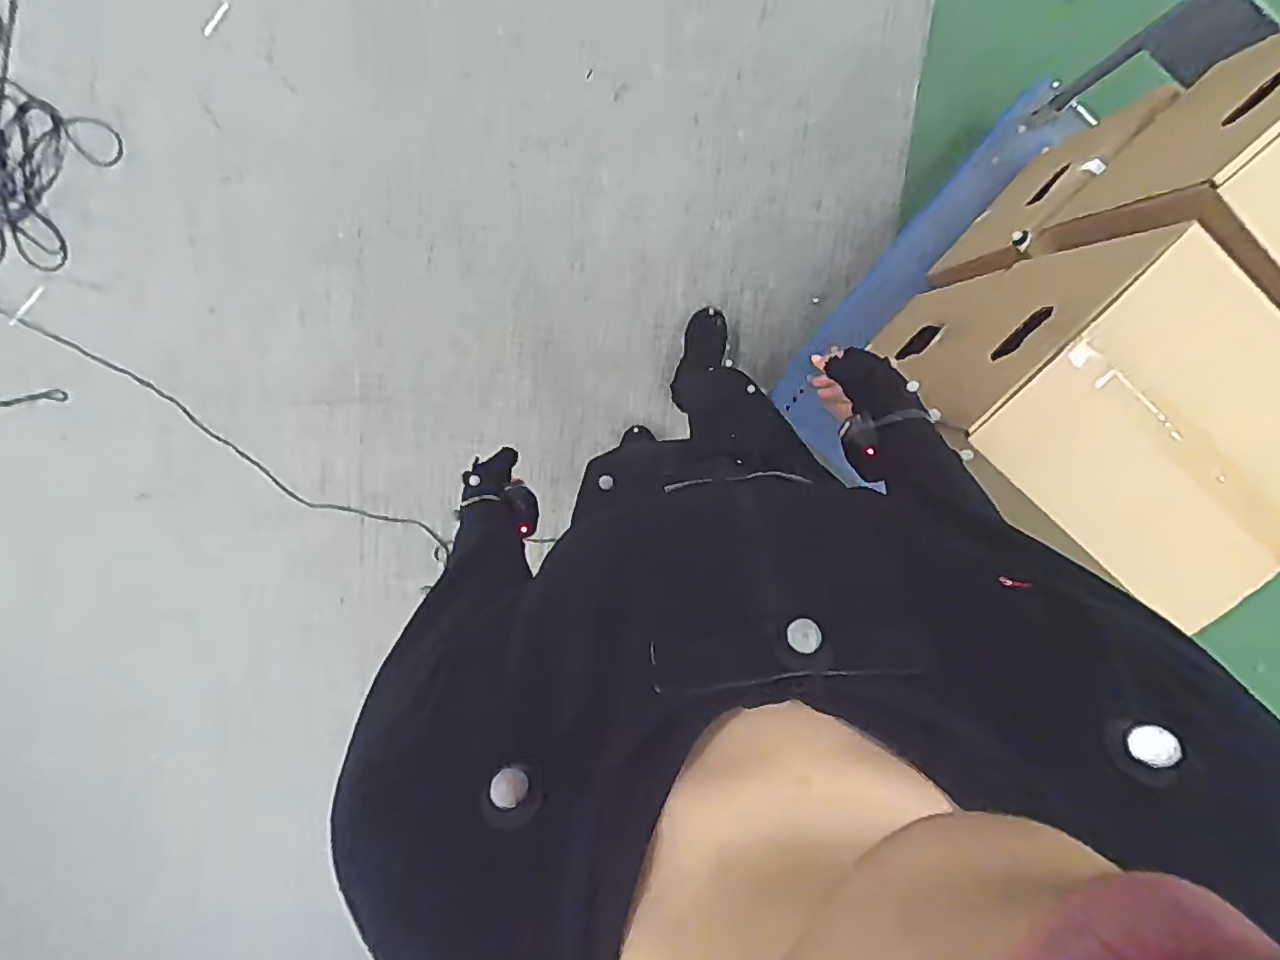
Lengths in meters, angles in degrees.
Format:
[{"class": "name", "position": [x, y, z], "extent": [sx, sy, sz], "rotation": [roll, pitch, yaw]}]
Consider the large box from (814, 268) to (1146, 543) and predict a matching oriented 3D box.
[{"class": "large box", "position": [0.636, -0.143, 1.088], "extent": [0.408, 0.320, 0.320], "rotation": [40, 97, -5]}]
